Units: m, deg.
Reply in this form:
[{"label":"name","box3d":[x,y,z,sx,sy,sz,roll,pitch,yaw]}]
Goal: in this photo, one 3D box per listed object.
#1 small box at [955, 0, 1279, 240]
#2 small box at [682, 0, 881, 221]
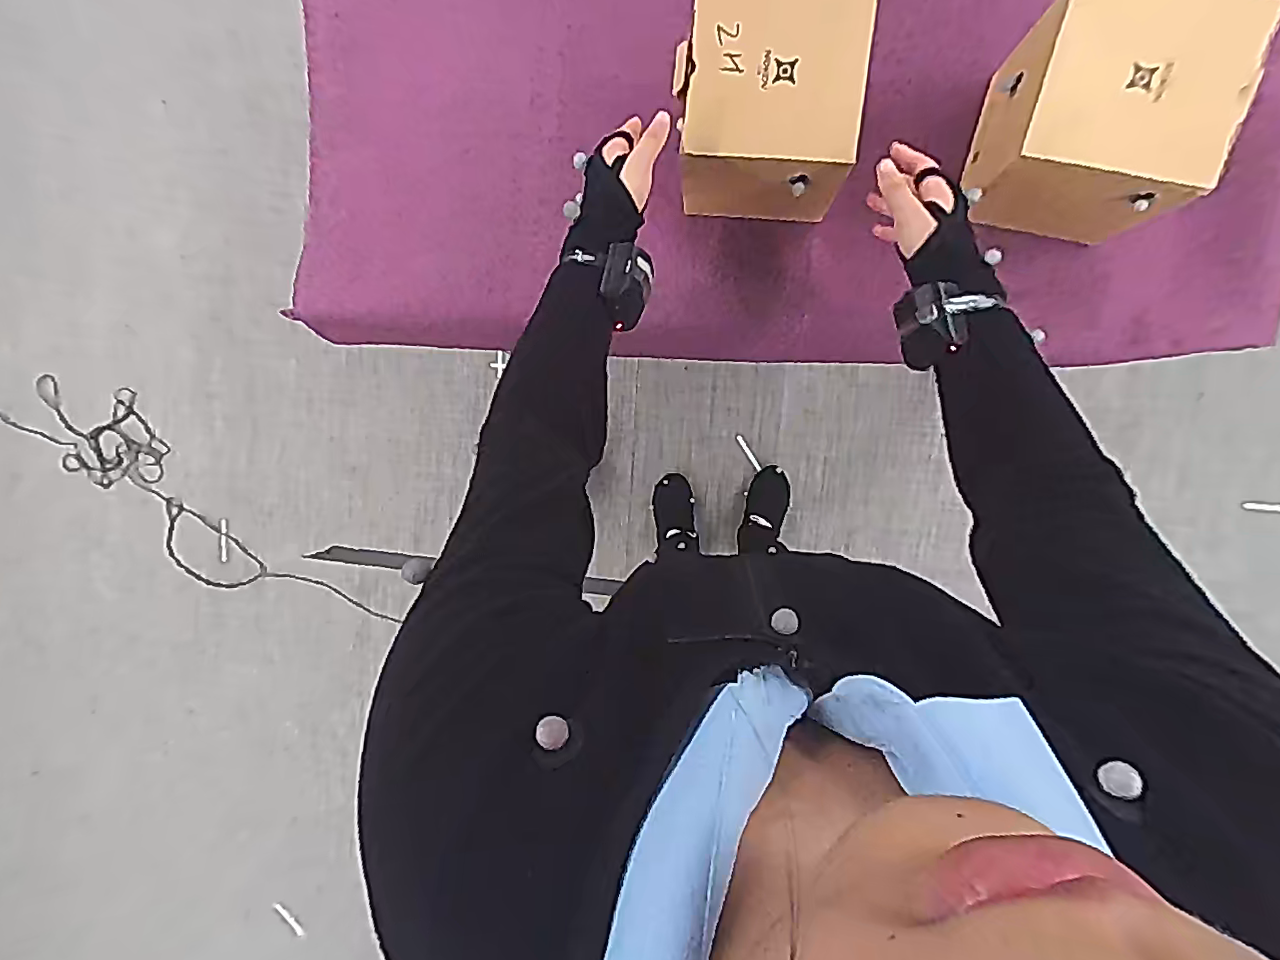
[{"label":"small box","box3d":[0.471,-0.373,0.570,0.179,0.176,0.168,14,98,5]},{"label":"small box","box3d":[0.145,-0.406,0.608,0.179,0.176,0.168,6,97,6]}]
